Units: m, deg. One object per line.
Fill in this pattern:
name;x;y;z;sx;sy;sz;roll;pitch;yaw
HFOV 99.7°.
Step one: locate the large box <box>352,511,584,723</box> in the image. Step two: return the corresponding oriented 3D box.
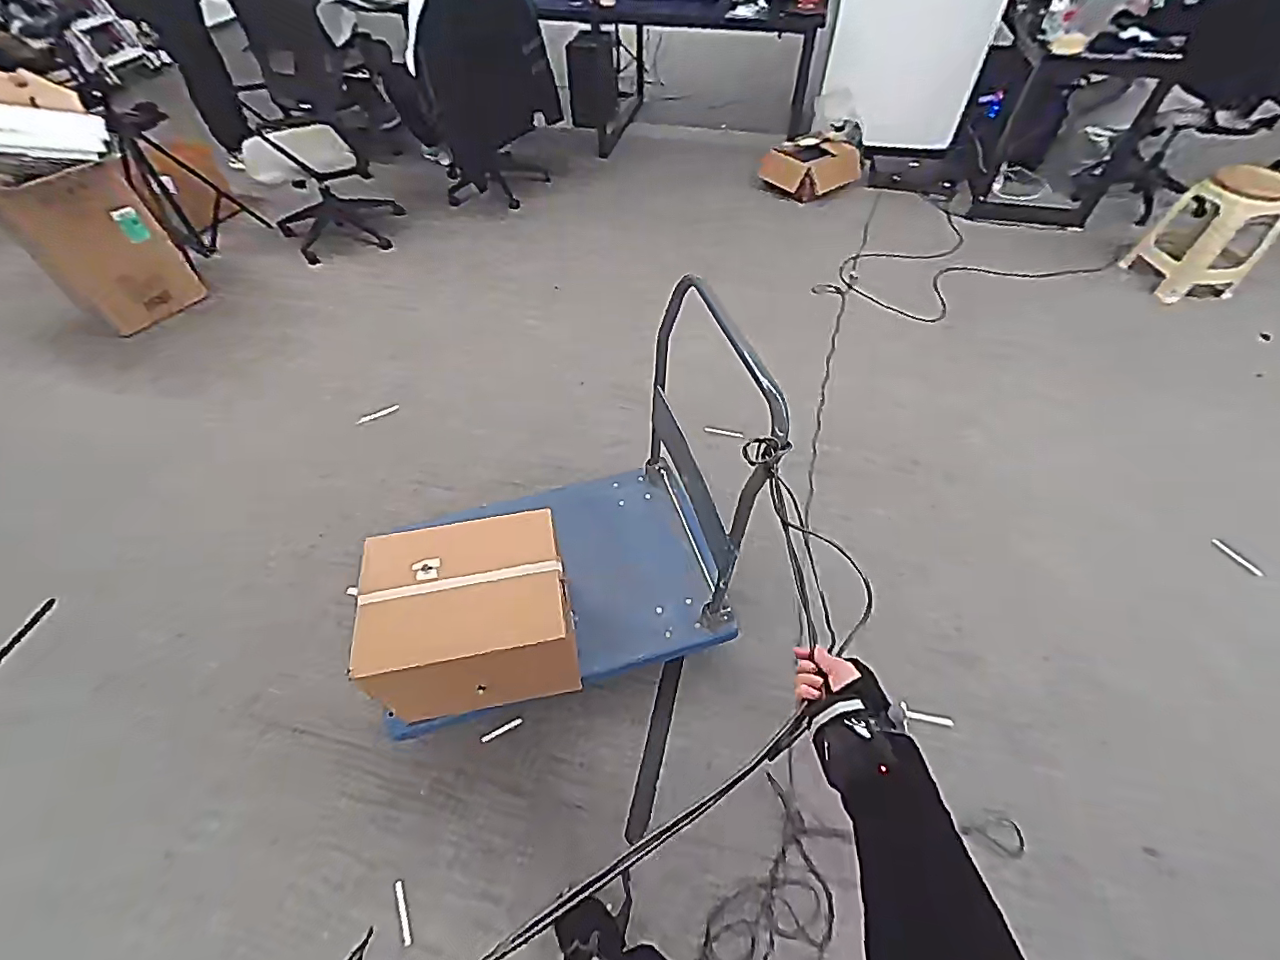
large box;-0.358;0.311;1.212;0.408;0.320;0.320;-10;51;-6
